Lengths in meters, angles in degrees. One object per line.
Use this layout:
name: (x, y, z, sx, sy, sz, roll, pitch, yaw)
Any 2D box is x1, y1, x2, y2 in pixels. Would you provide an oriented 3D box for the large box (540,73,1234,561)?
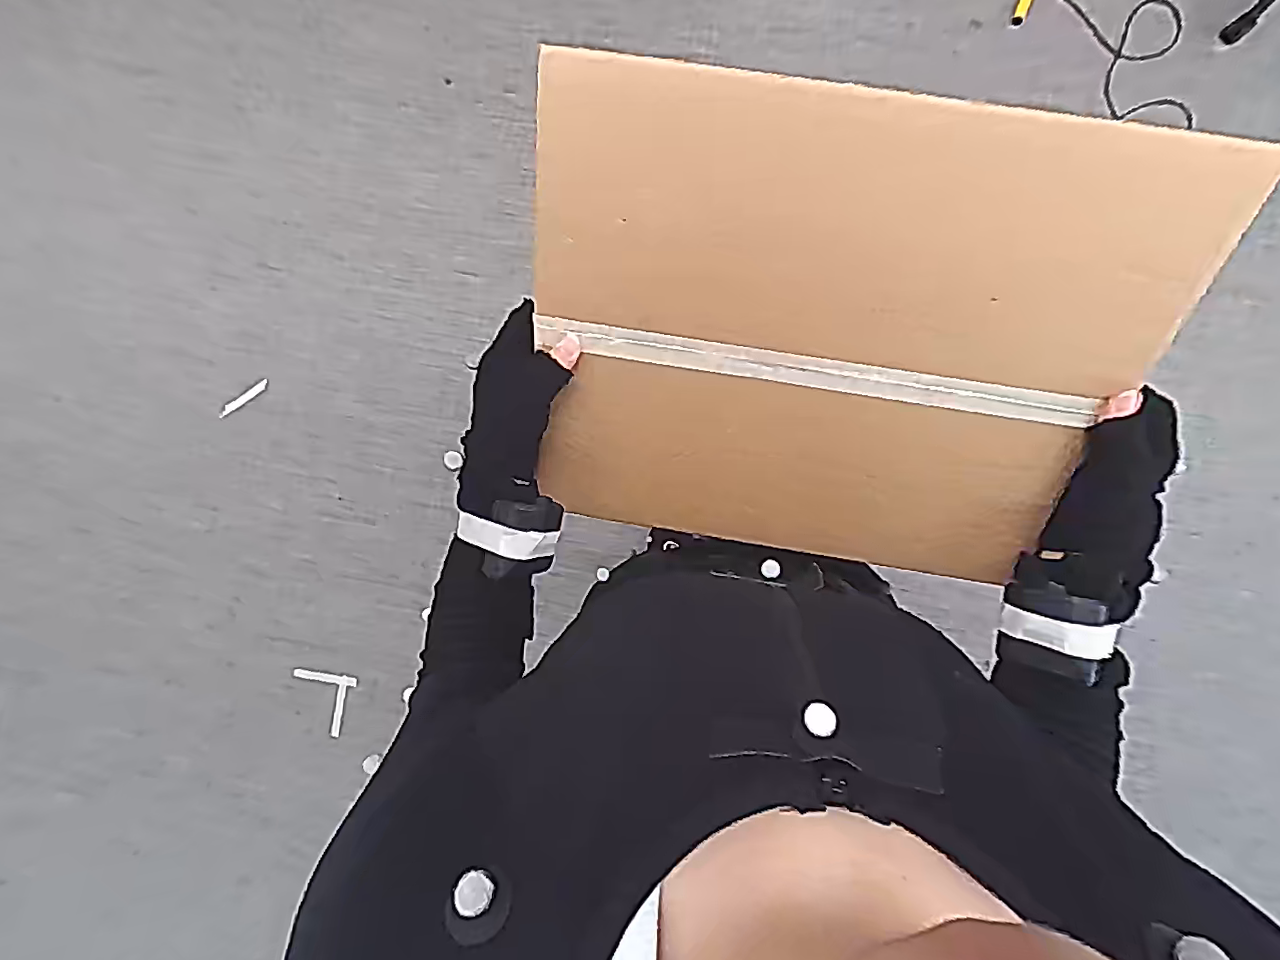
large box: (0.141, -0.163, 0.514, 0.408, 0.320, 0.320, 9, 122, 2)
